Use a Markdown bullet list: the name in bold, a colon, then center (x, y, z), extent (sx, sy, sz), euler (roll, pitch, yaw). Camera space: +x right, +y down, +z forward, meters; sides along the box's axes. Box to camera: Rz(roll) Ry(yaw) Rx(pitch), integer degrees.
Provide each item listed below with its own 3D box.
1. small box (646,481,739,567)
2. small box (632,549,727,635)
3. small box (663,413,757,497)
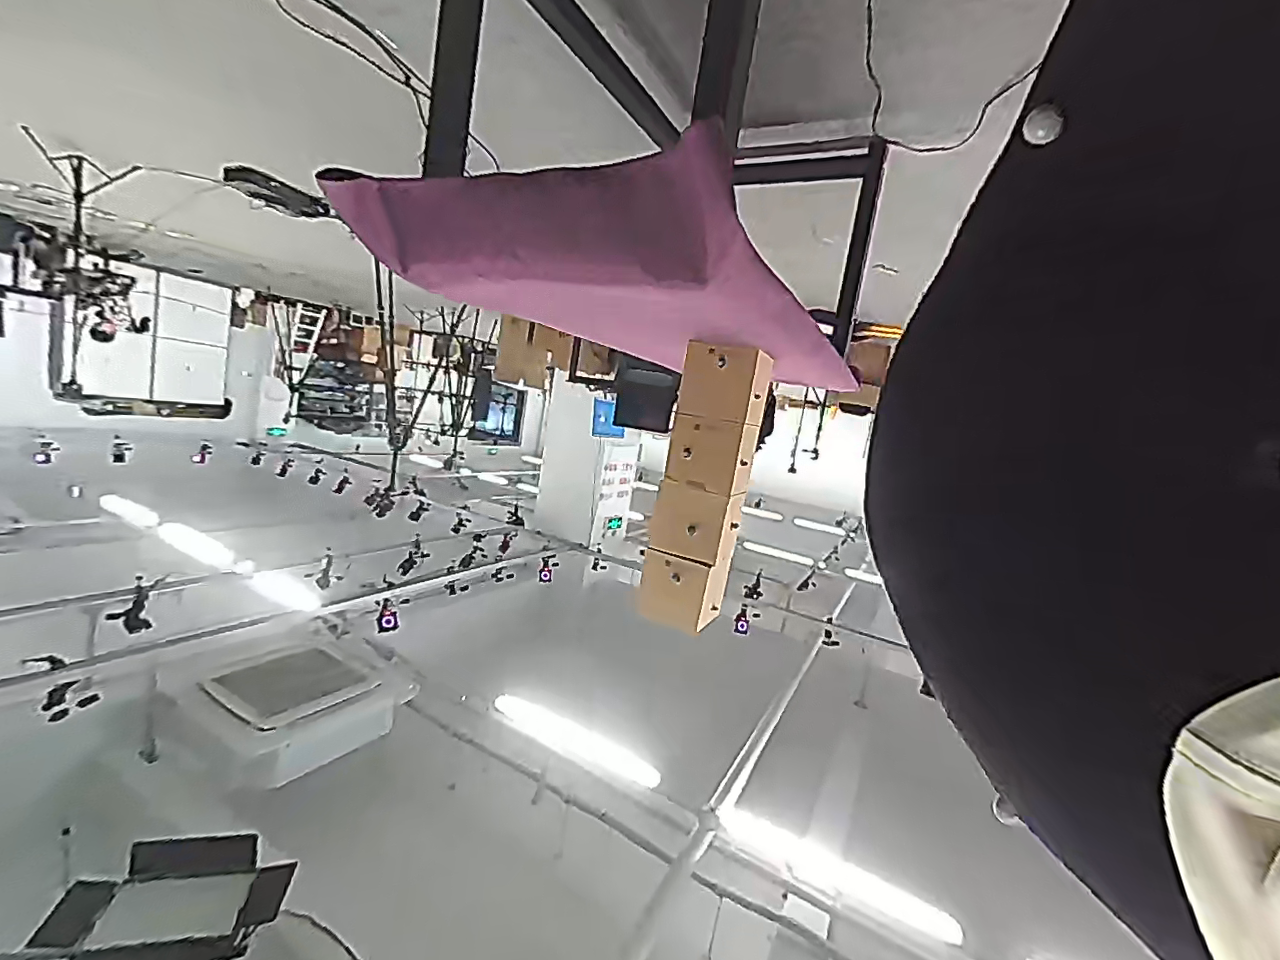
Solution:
- **small box**: center (0.135, 0.095, 1.313), extent (0.179, 0.176, 0.168), euler (13, -174, 23)
- **small box**: center (0.103, 0.255, 1.333), extent (0.168, 0.176, 0.179), euler (14, -173, 25)
- **small box**: center (0.171, -0.062, 1.292), extent (0.168, 0.176, 0.179), euler (13, -173, 23)
